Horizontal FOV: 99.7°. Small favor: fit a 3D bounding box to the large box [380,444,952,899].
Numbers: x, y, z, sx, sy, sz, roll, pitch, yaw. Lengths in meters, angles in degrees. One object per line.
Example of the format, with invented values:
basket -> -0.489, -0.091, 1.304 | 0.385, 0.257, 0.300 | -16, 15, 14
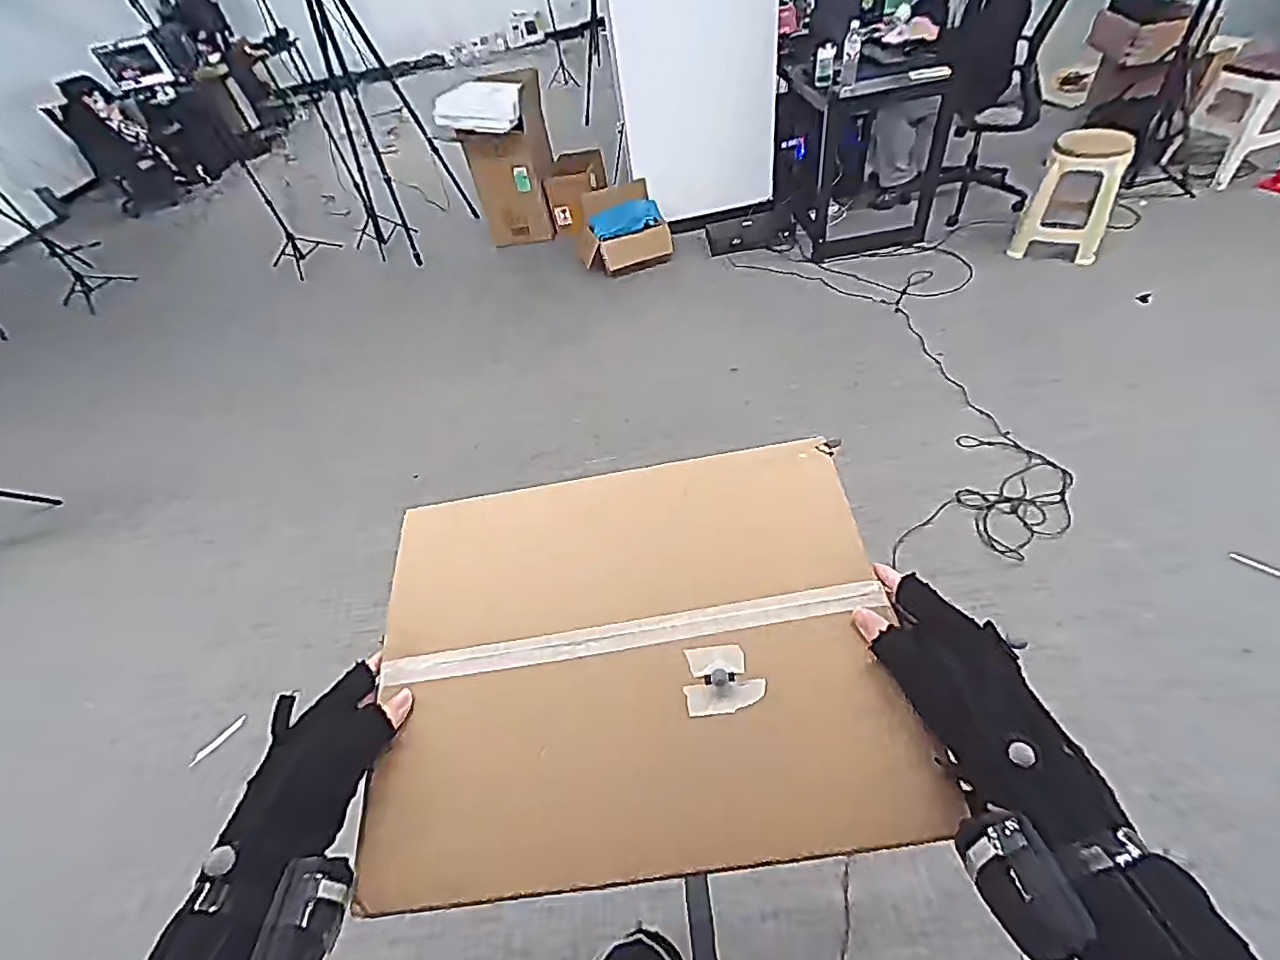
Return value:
large box -> 0.014, 0.207, 0.569 | 0.408, 0.320, 0.320 | -10, 57, 3
